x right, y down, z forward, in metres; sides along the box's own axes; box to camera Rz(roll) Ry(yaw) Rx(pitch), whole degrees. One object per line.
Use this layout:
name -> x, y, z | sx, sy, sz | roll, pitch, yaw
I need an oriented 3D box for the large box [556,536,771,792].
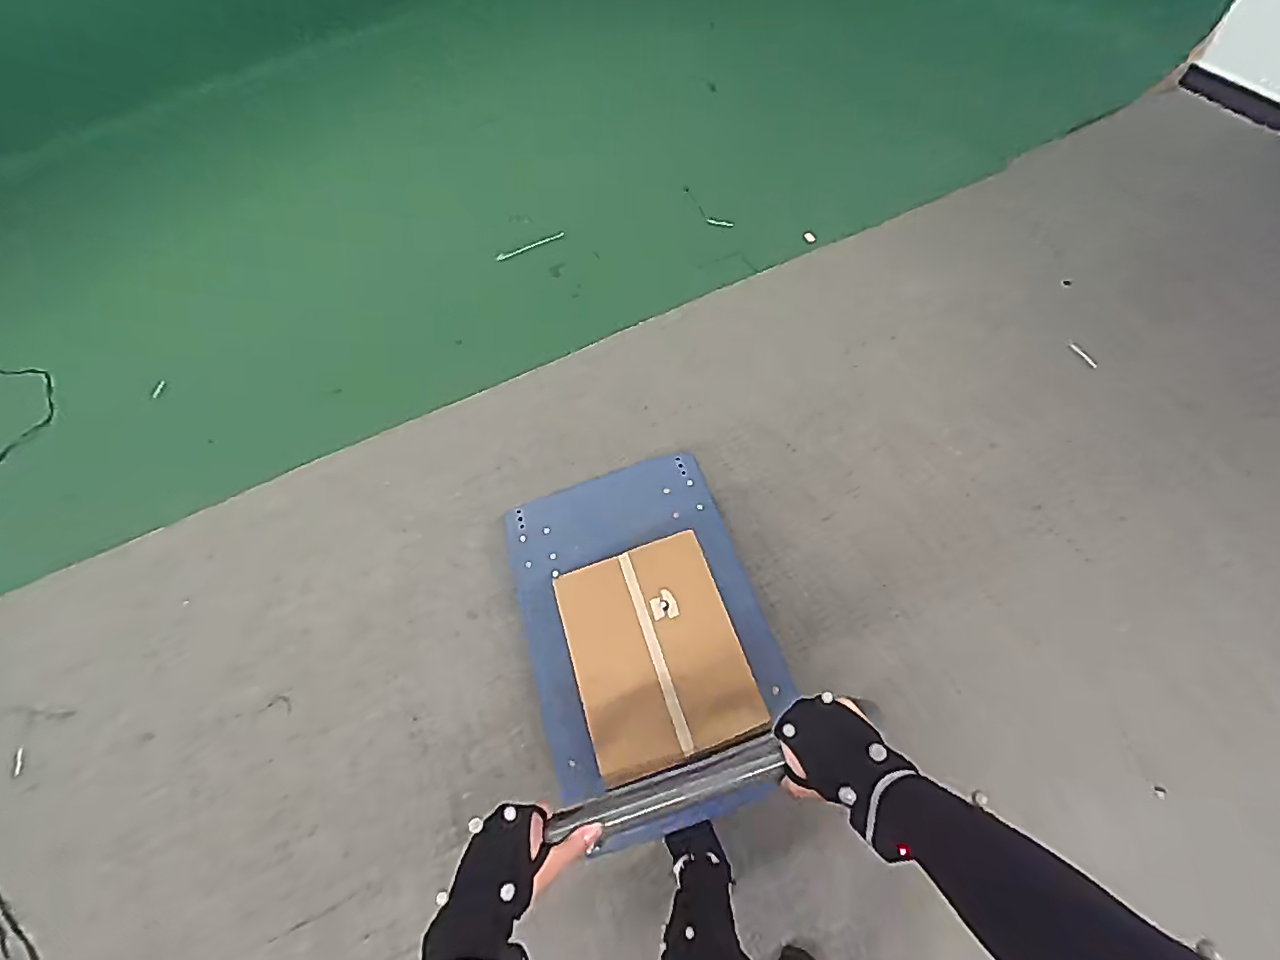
large box -> 0.048, 0.397, 1.159 | 0.320, 0.320, 0.408 | -19, 60, -3
